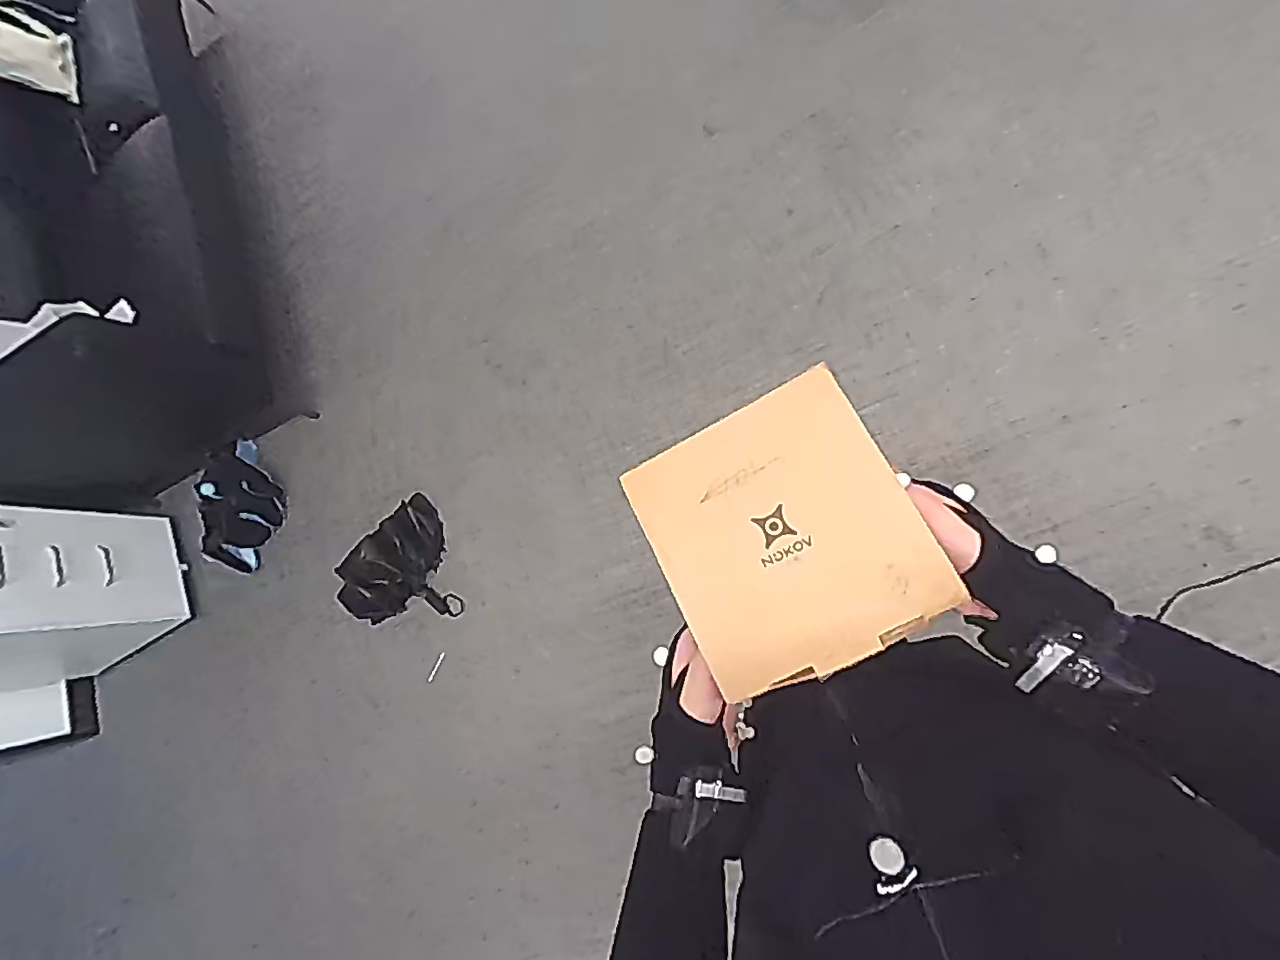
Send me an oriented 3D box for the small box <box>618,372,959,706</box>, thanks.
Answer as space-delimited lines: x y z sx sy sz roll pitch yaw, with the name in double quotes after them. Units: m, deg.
0.112 0.049 0.435 0.168 0.176 0.179 -29 73 10 "small box"
